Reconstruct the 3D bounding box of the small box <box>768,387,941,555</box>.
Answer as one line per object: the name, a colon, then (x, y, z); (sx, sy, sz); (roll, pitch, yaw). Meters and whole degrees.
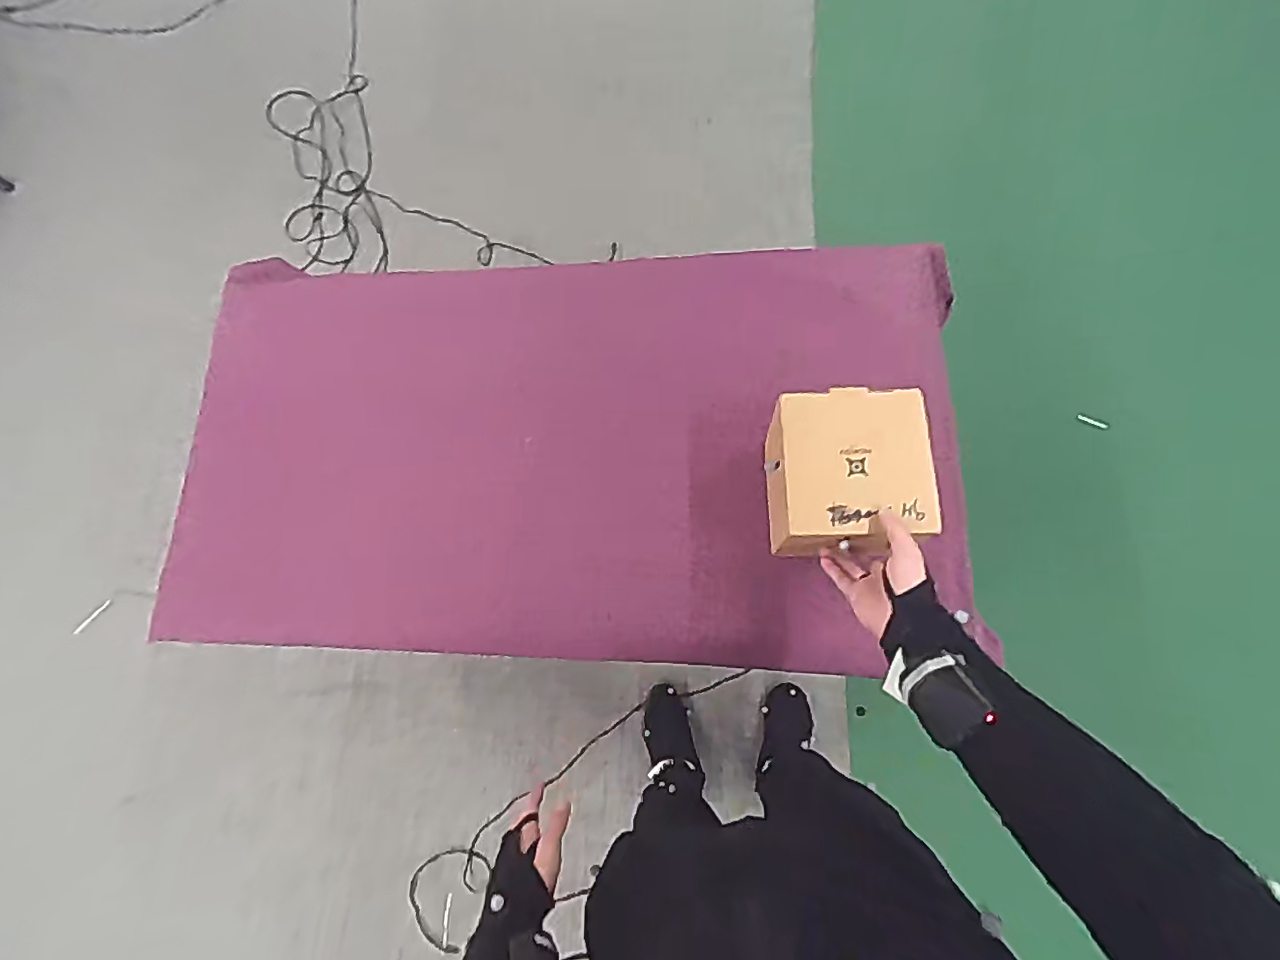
small box: (0.261, -0.004, 0.701); (0.168, 0.176, 0.179); (-1, 73, 7)
